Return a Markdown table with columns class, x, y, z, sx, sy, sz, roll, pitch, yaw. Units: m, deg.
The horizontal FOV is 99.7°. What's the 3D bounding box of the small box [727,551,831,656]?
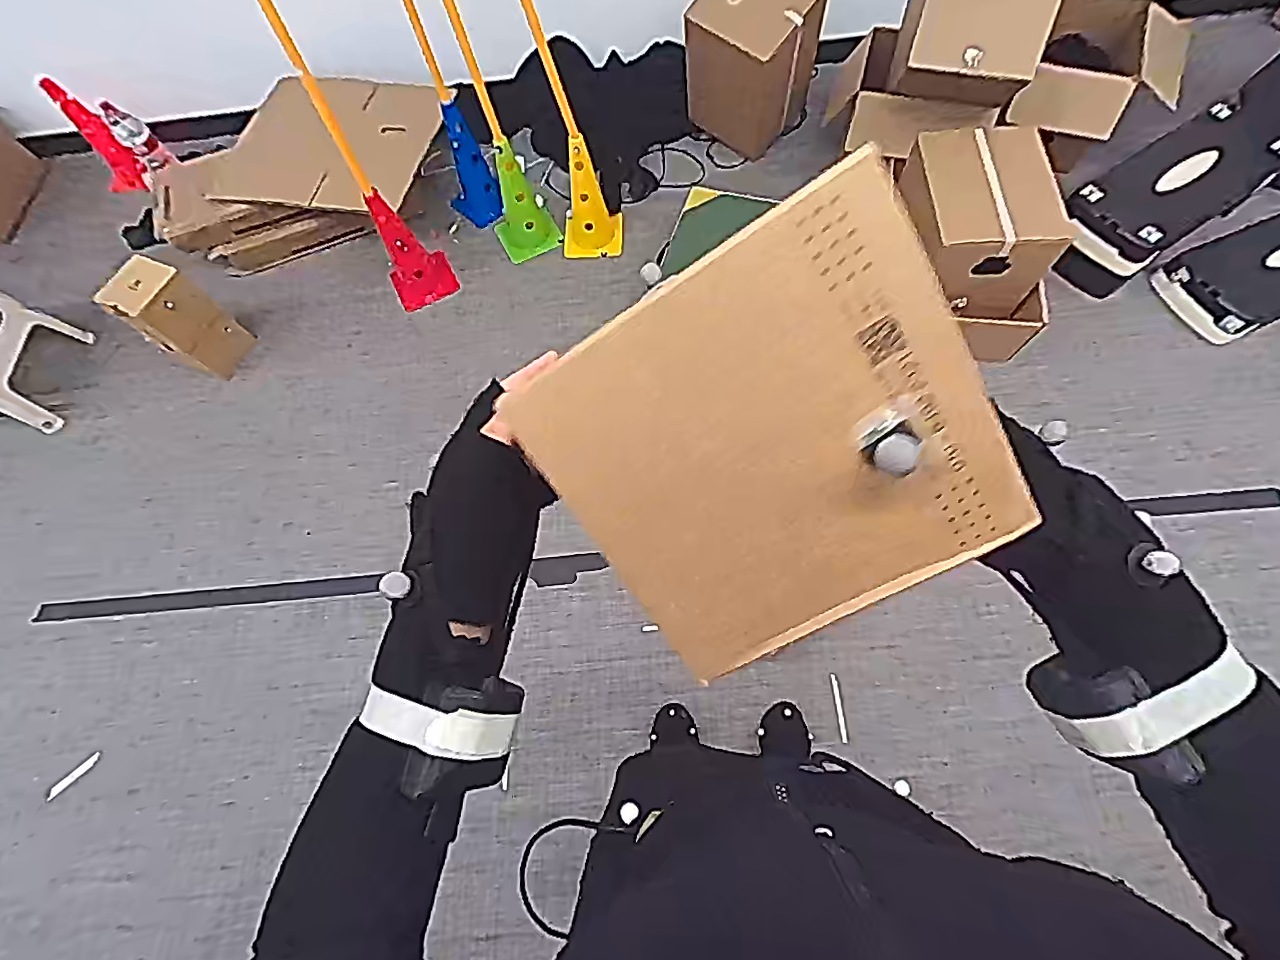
| class | x | y | z | sx | sy | sz | roll | pitch | yaw |
| --- | --- | --- | --- | --- | --- | --- | --- | --- | --- |
| small box | 0.324 | 0.304 | 1.301 | 0.179 | 0.176 | 0.168 | -36 | 70 | -10 |
